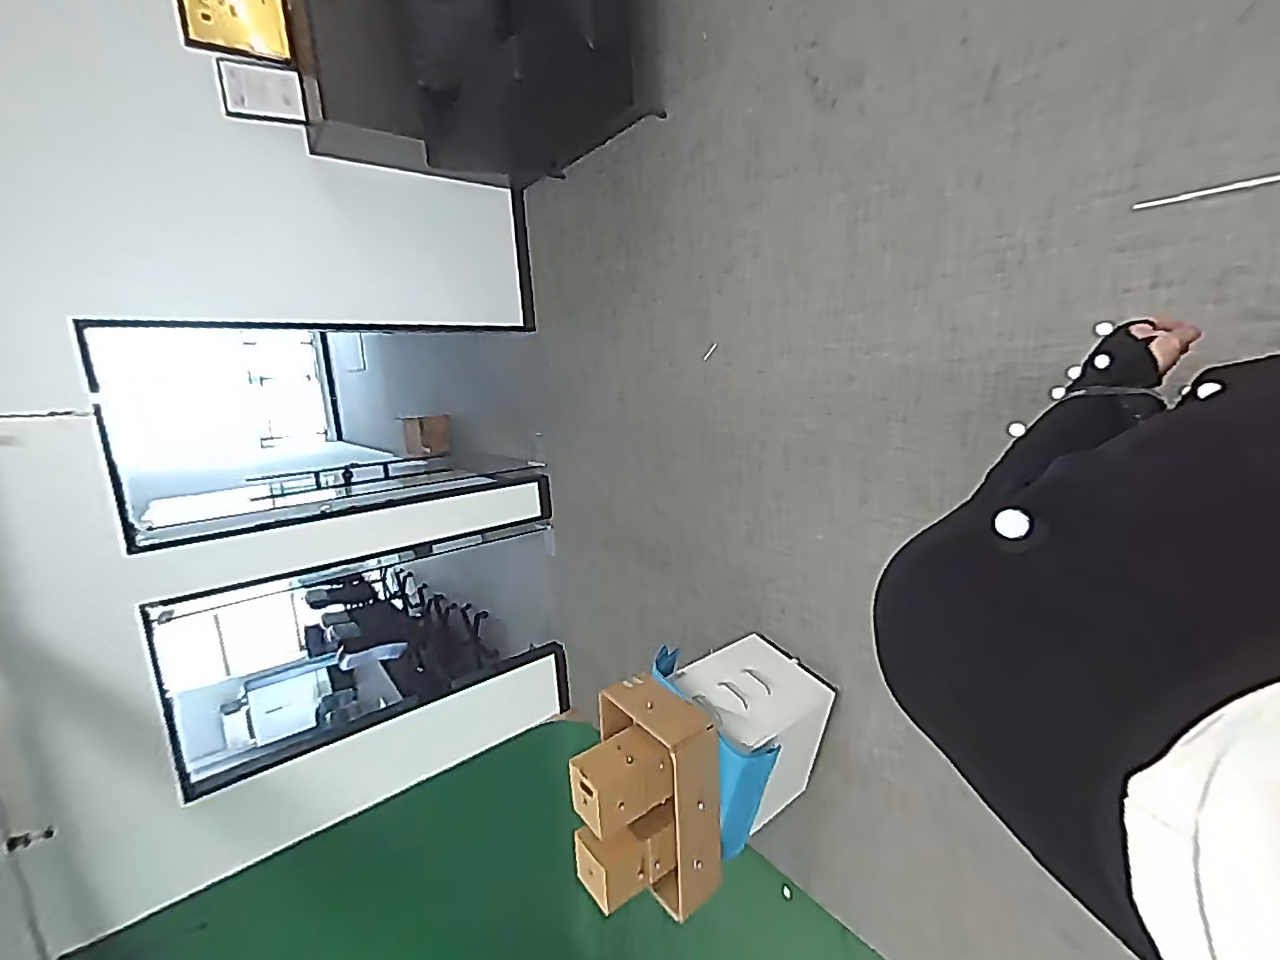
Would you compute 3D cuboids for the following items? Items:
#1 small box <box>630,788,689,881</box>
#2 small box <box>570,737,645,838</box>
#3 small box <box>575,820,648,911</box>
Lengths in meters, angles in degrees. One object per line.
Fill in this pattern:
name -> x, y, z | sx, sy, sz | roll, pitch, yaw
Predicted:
small box -> 0.045, 1.165, 1.800 | 0.179, 0.176, 0.168 | 13, 108, 53
small box -> -0.097, 0.929, 1.654 | 0.168, 0.176, 0.179 | 12, 109, 53
small box -> -0.089, 1.188, 1.710 | 0.179, 0.176, 0.168 | 12, 107, 52
